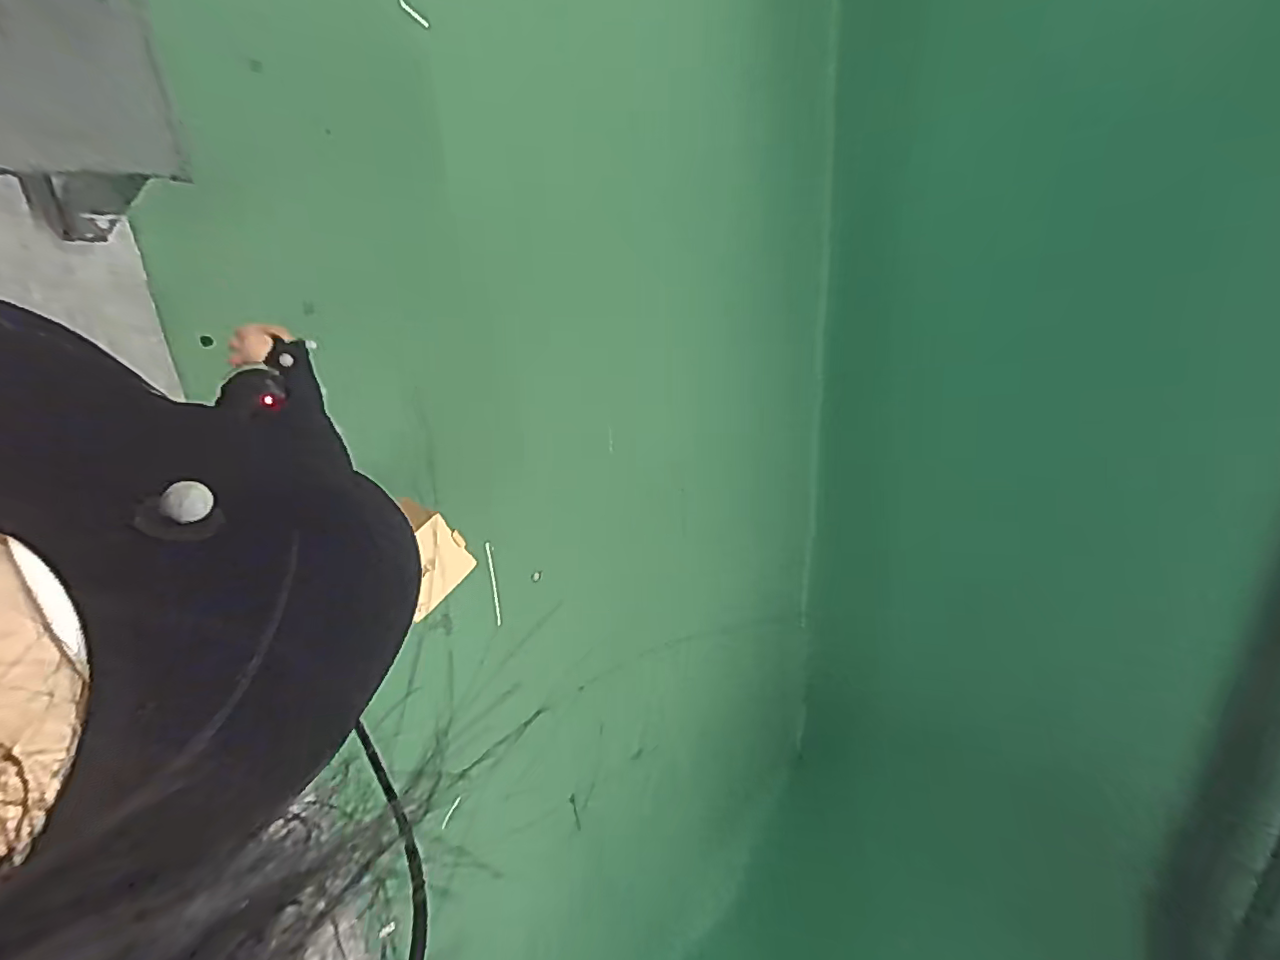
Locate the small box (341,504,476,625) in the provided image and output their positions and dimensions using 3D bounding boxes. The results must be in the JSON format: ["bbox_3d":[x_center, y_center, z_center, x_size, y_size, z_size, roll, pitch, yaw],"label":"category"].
[{"bbox_3d":[-0.500,0.174,1.169,0.179,0.176,0.168,-48,131,-29],"label":"small box"}]
